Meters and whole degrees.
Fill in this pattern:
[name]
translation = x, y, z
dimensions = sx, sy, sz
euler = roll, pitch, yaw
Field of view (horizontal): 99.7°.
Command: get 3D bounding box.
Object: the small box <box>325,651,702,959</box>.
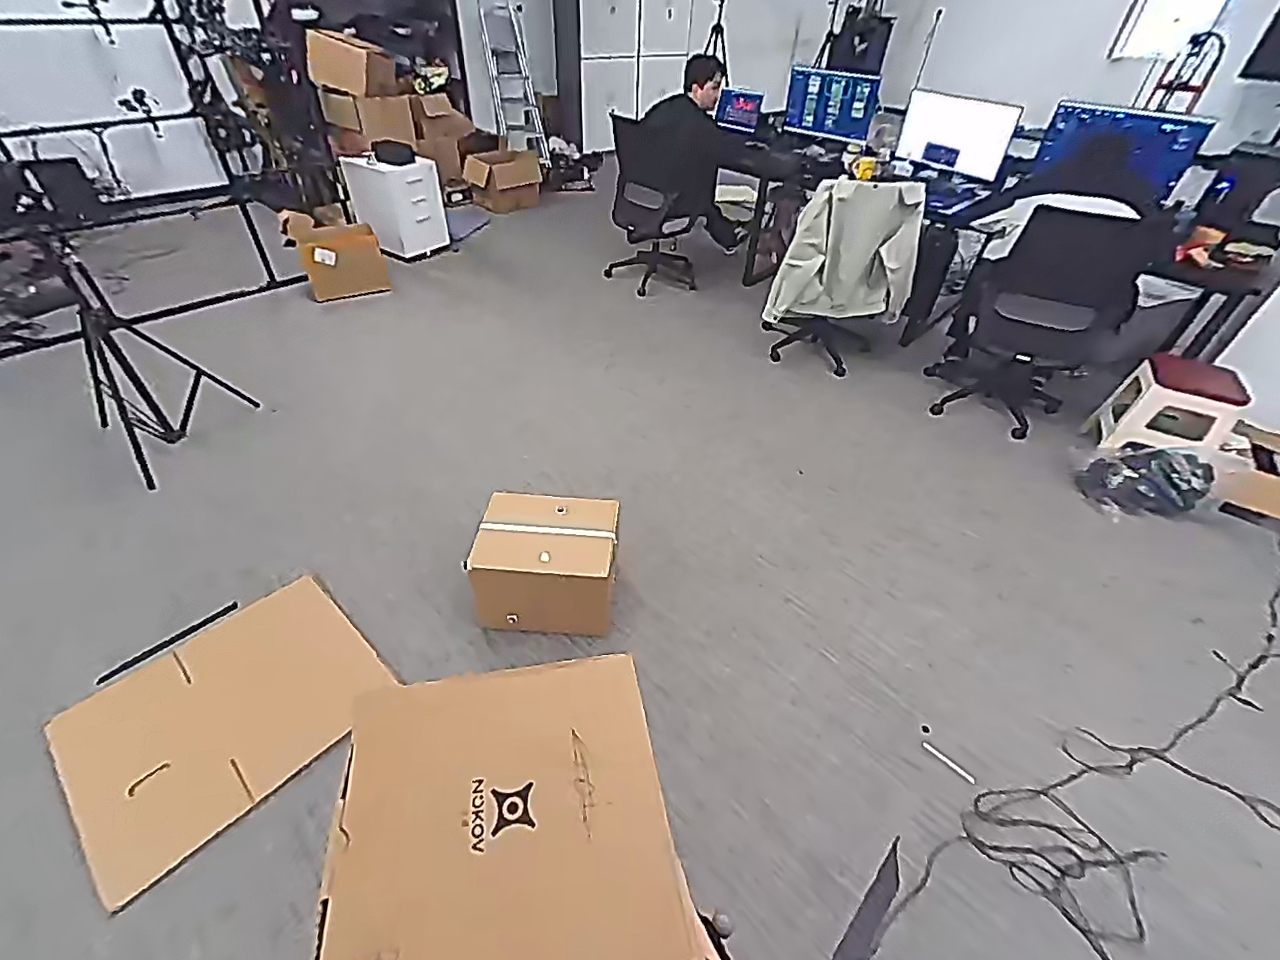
[small box]
translation = -0.075, 0.238, 0.351
dimensions = 0.179, 0.176, 0.168
euler = -5, 44, -13
